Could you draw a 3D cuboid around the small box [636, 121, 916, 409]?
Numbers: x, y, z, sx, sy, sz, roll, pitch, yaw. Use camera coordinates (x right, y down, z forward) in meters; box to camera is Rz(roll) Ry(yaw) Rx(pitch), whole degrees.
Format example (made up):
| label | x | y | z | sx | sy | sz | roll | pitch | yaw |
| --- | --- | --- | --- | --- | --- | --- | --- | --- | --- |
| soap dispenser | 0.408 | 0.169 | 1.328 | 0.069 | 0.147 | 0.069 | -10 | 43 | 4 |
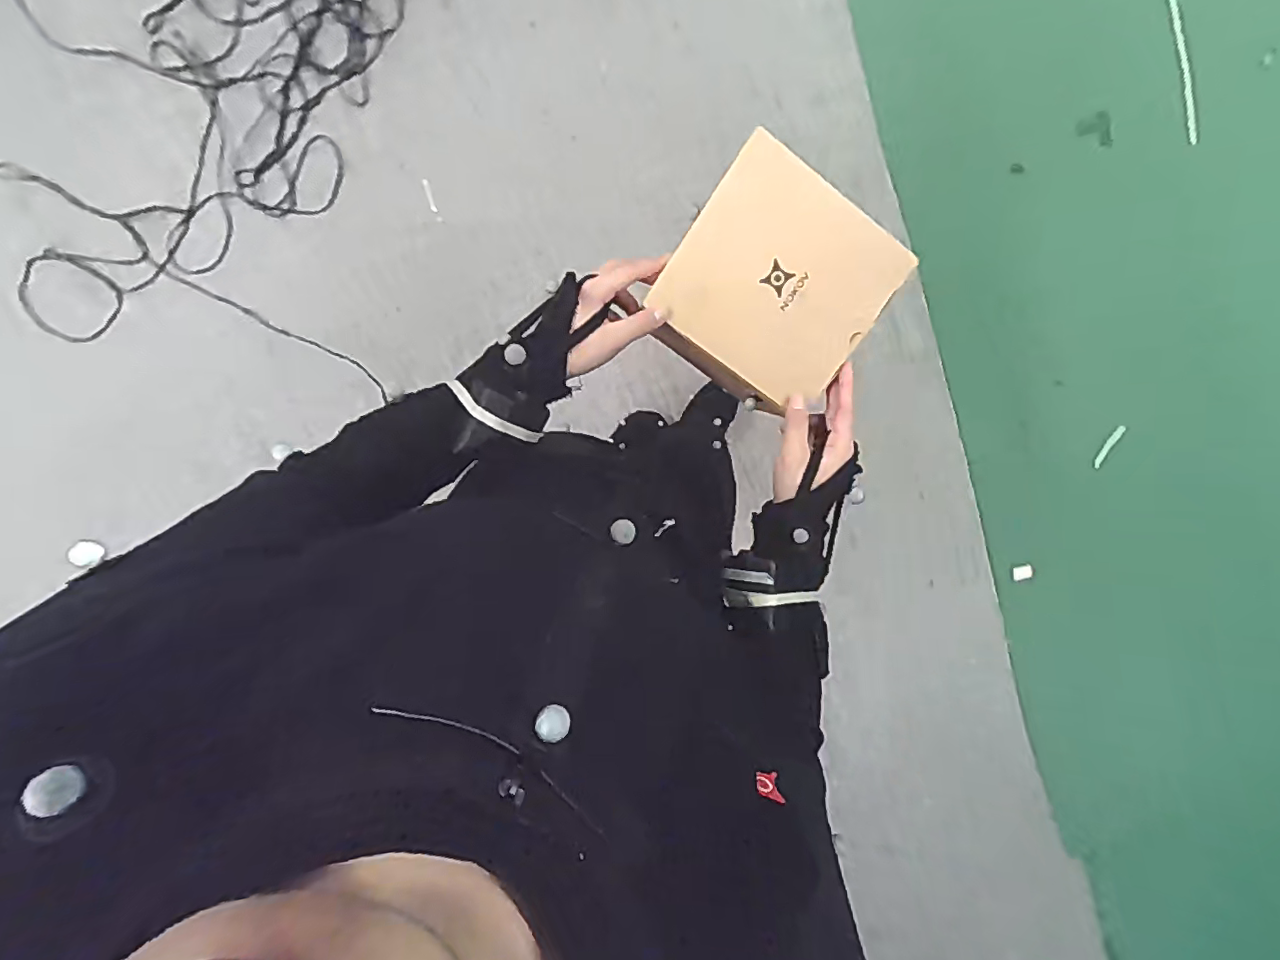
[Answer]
| label | x | y | z | sx | sy | sz | roll | pitch | yaw |
| --- | --- | --- | --- | --- | --- | --- | --- | --- | --- |
| small box | 0.109 | -0.186 | 0.523 | 0.179 | 0.176 | 0.168 | 32 | 98 | -10 |
